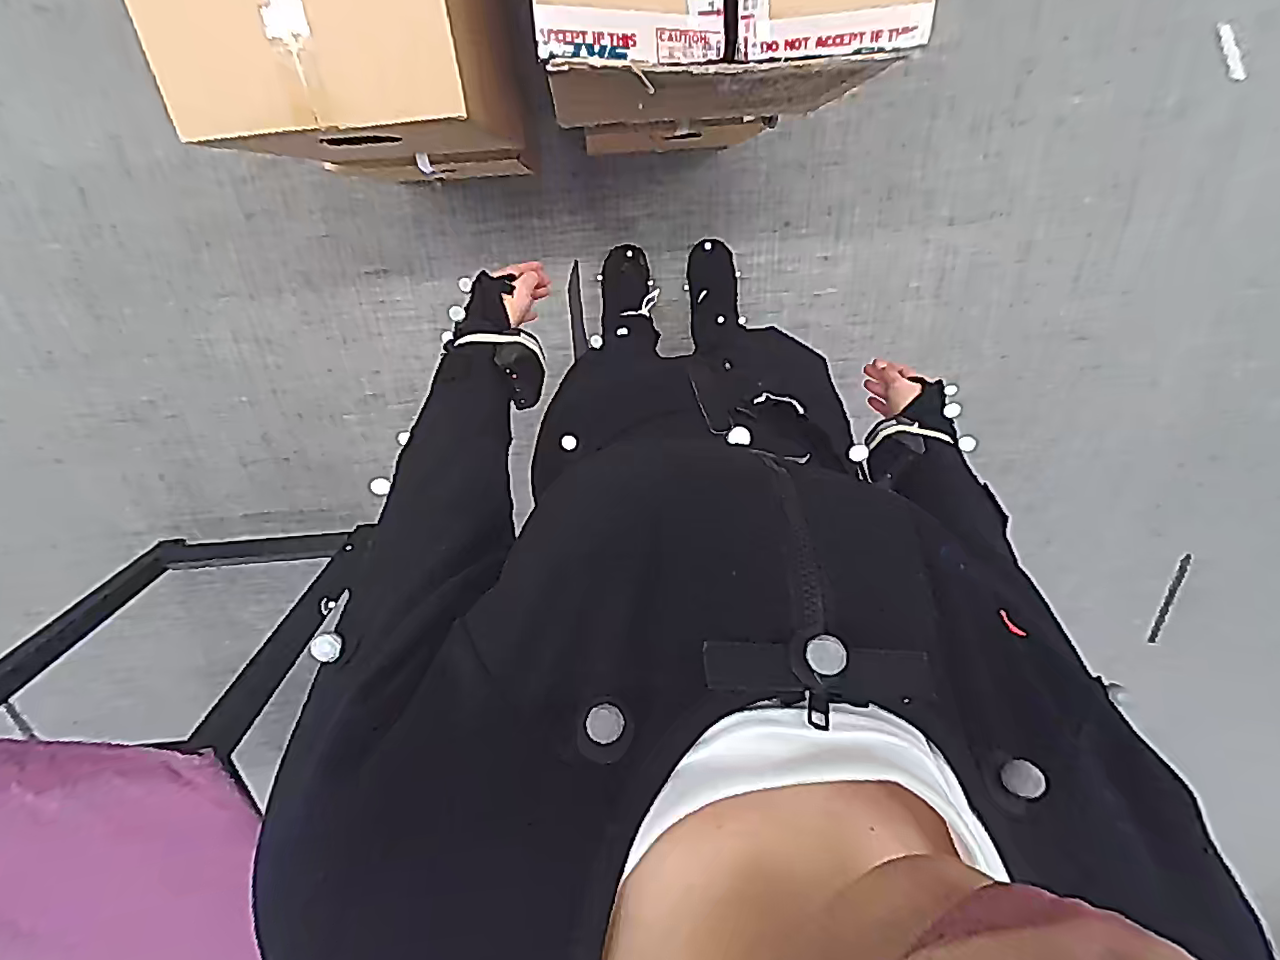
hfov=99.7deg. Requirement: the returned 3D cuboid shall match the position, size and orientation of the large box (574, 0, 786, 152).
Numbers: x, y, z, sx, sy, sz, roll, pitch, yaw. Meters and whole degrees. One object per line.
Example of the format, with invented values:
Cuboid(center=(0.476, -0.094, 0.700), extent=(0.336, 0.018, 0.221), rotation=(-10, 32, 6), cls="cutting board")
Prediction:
Cuboid(center=(0.047, -0.808, 0.907), extent=(0.320, 0.320, 0.408), rotation=(-6, 117, -2), cls="large box")
